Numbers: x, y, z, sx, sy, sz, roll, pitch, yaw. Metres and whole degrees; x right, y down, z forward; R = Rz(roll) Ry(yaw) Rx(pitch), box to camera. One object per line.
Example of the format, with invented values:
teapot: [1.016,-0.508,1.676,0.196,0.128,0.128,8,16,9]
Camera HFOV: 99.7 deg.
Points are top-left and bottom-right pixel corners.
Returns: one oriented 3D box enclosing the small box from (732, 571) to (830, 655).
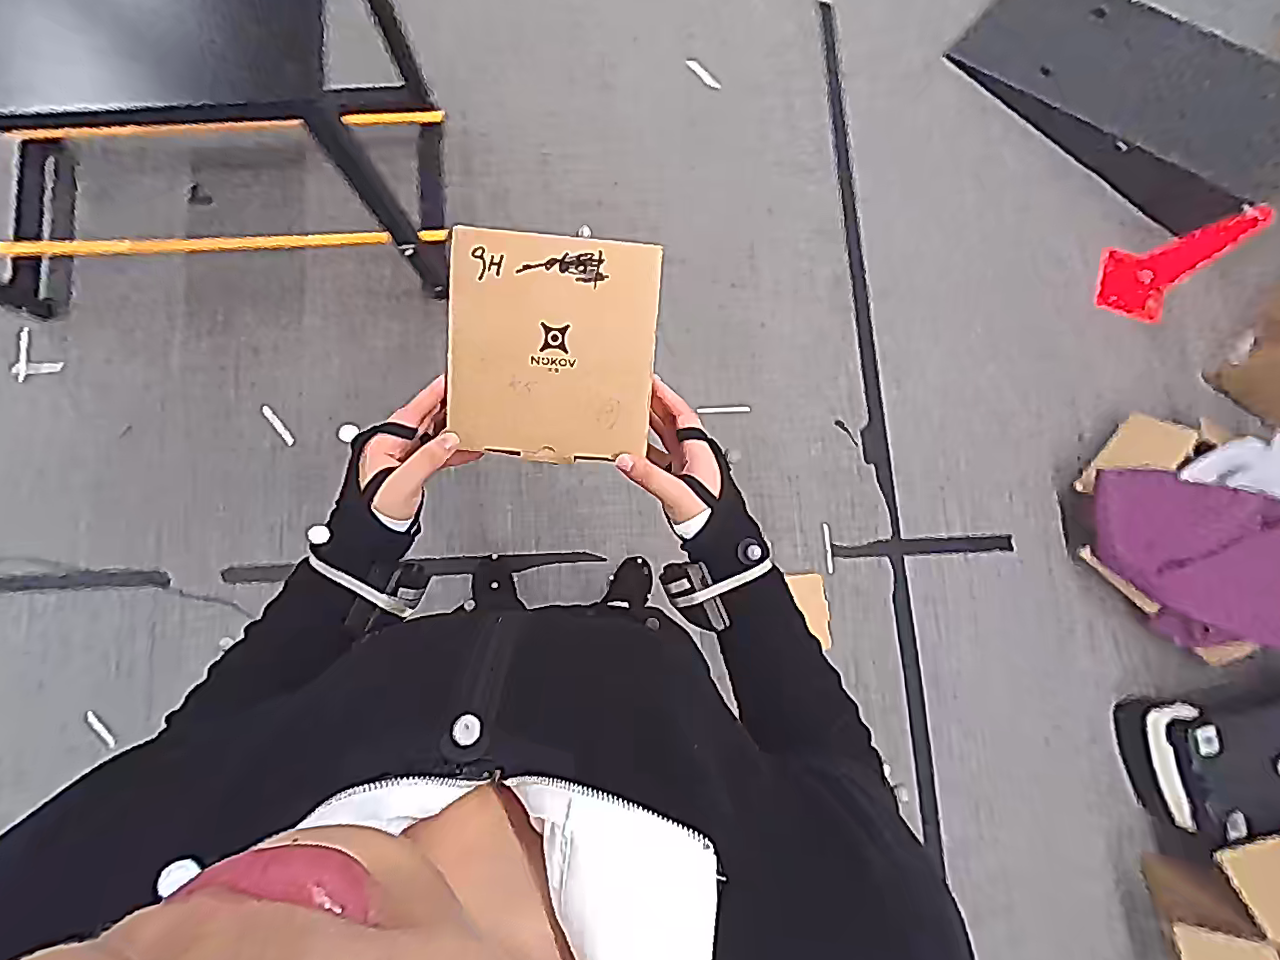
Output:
small box: [0.322,0.304,1.266,0.179,0.176,0.168,-5,82,-1]

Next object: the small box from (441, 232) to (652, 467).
small box: [-0.080,-0.115,0.514,0.168,0.176,0.179,3,100,-4]

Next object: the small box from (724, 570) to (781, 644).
small box: [0.317,0.329,1.427,0.168,0.176,0.179,0,84,-1]
